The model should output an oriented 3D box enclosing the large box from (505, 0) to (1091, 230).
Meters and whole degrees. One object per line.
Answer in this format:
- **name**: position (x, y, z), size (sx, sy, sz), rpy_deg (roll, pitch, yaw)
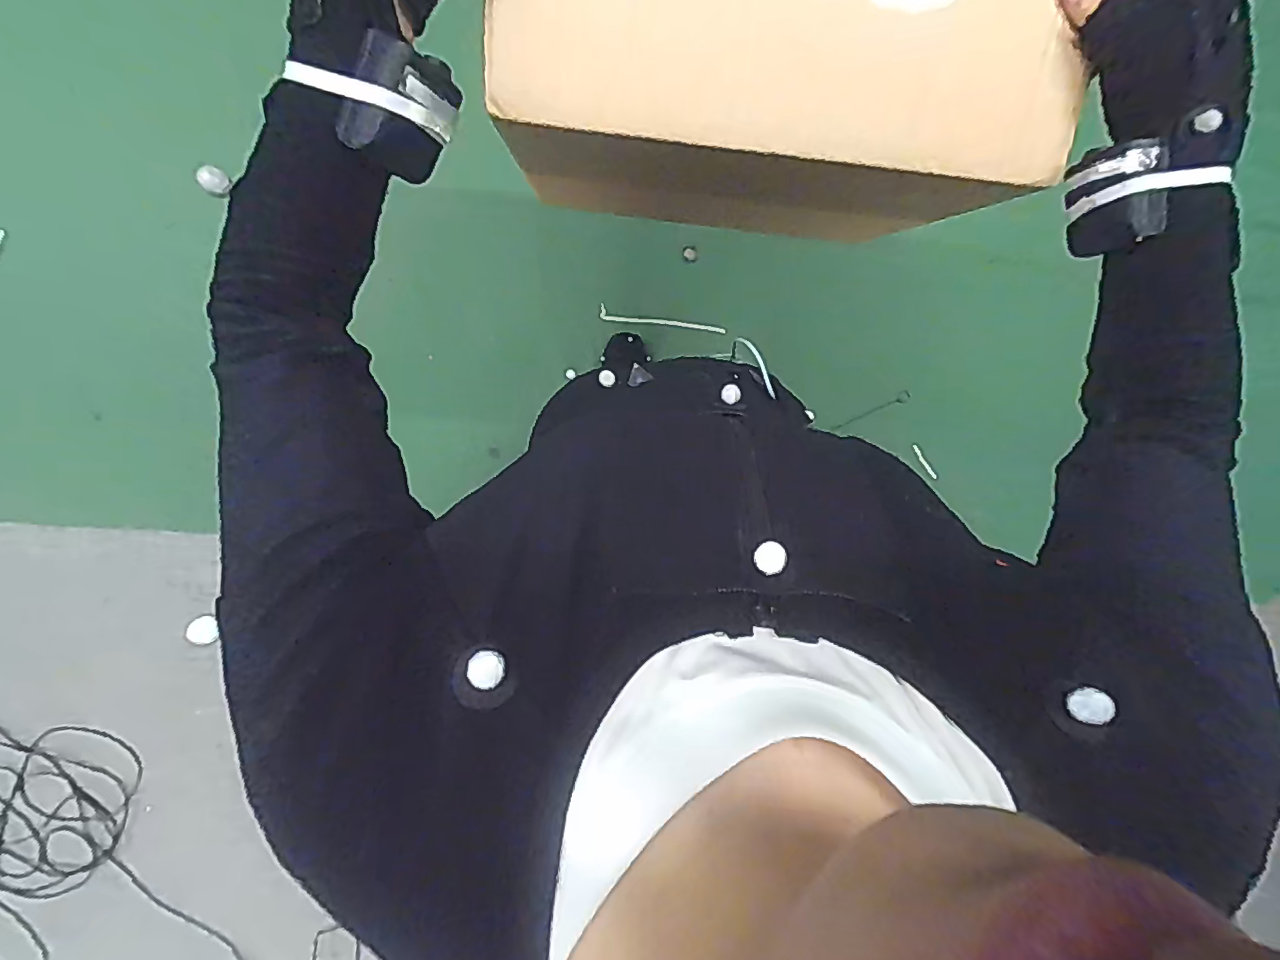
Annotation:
- **large box**: position (0.103, -0.427, 0.482), size (0.408, 0.320, 0.320), rpy_deg (3, 107, -6)
